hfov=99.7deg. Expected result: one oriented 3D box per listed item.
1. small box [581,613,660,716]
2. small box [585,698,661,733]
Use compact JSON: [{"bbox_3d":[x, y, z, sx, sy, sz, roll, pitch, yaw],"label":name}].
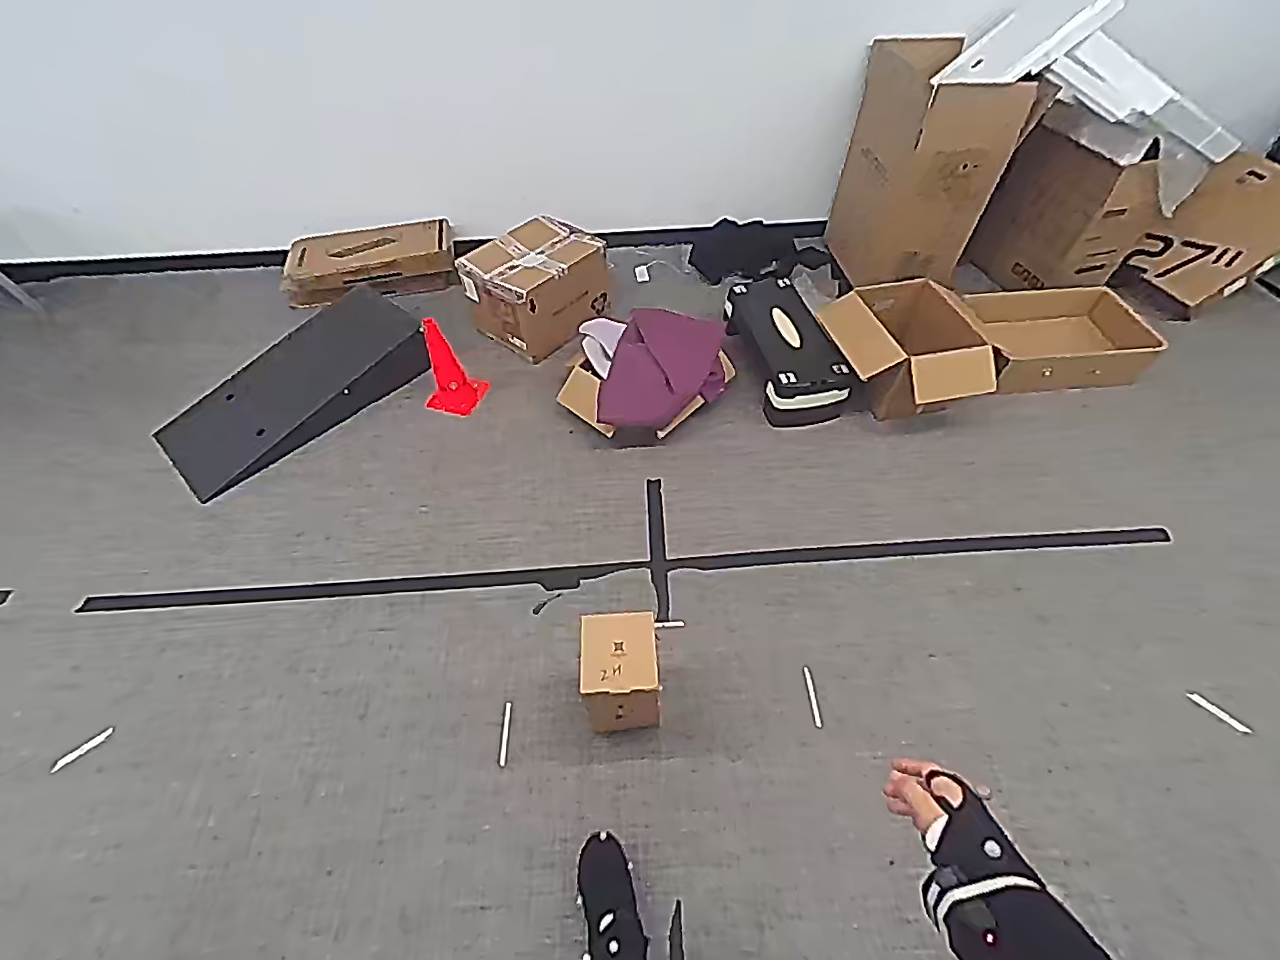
[{"bbox_3d":[-0.043,0.420,1.228,0.168,0.176,0.179,-3,52,0],"label":"small box"},{"bbox_3d":[-0.044,0.523,1.357,0.179,0.176,0.168,-6,52,-3],"label":"small box"}]
